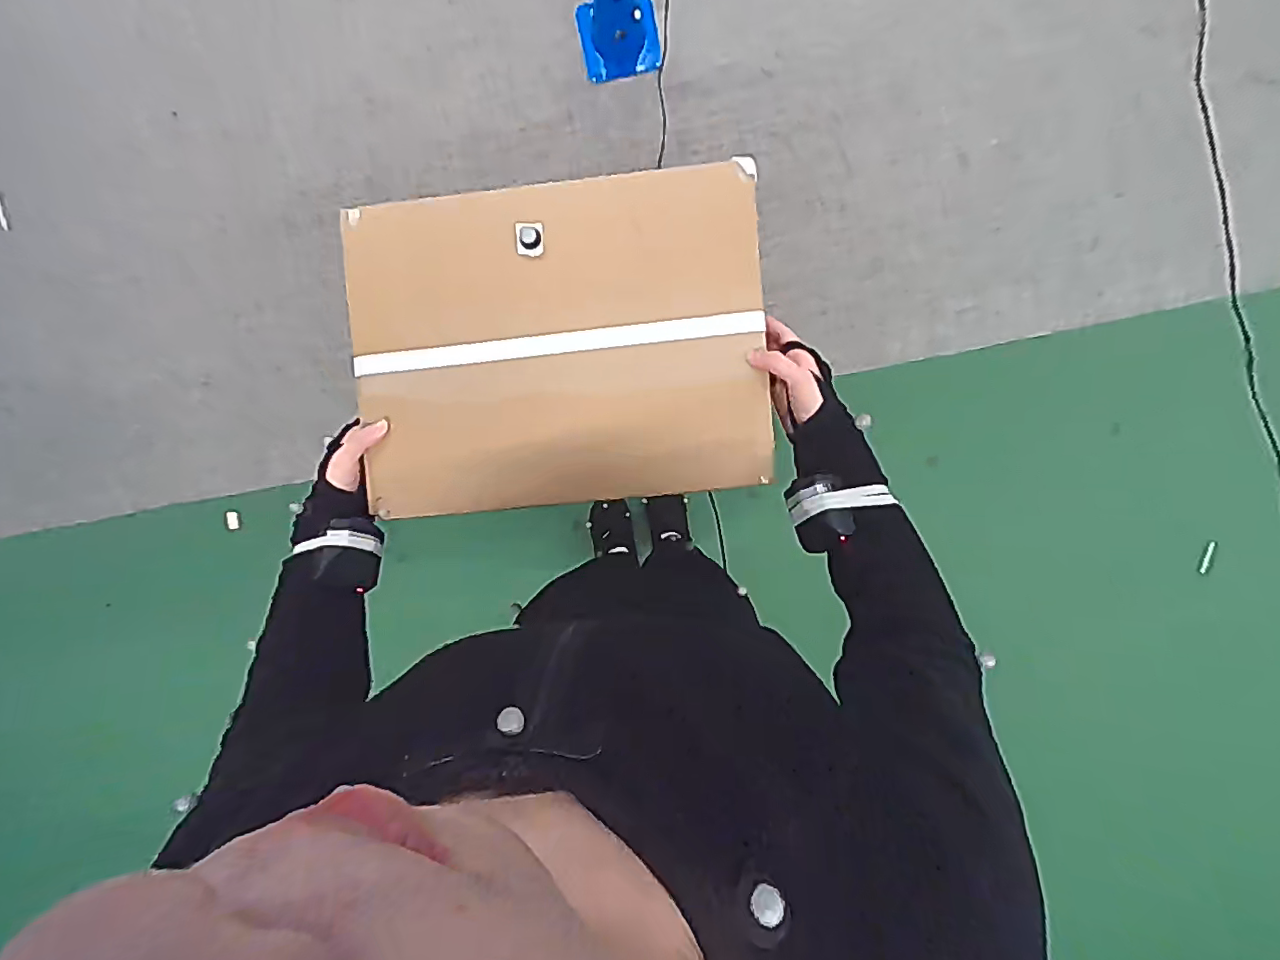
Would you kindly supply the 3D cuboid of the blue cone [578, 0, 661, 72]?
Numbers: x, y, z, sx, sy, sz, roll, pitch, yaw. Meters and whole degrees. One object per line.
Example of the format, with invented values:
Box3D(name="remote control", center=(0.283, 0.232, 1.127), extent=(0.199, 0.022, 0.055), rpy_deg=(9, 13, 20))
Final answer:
Box3D(name="blue cone", center=(-0.057, -1.141, 1.216), extent=(0.193, 0.380, 0.192), rpy_deg=(-13, 94, 4))
